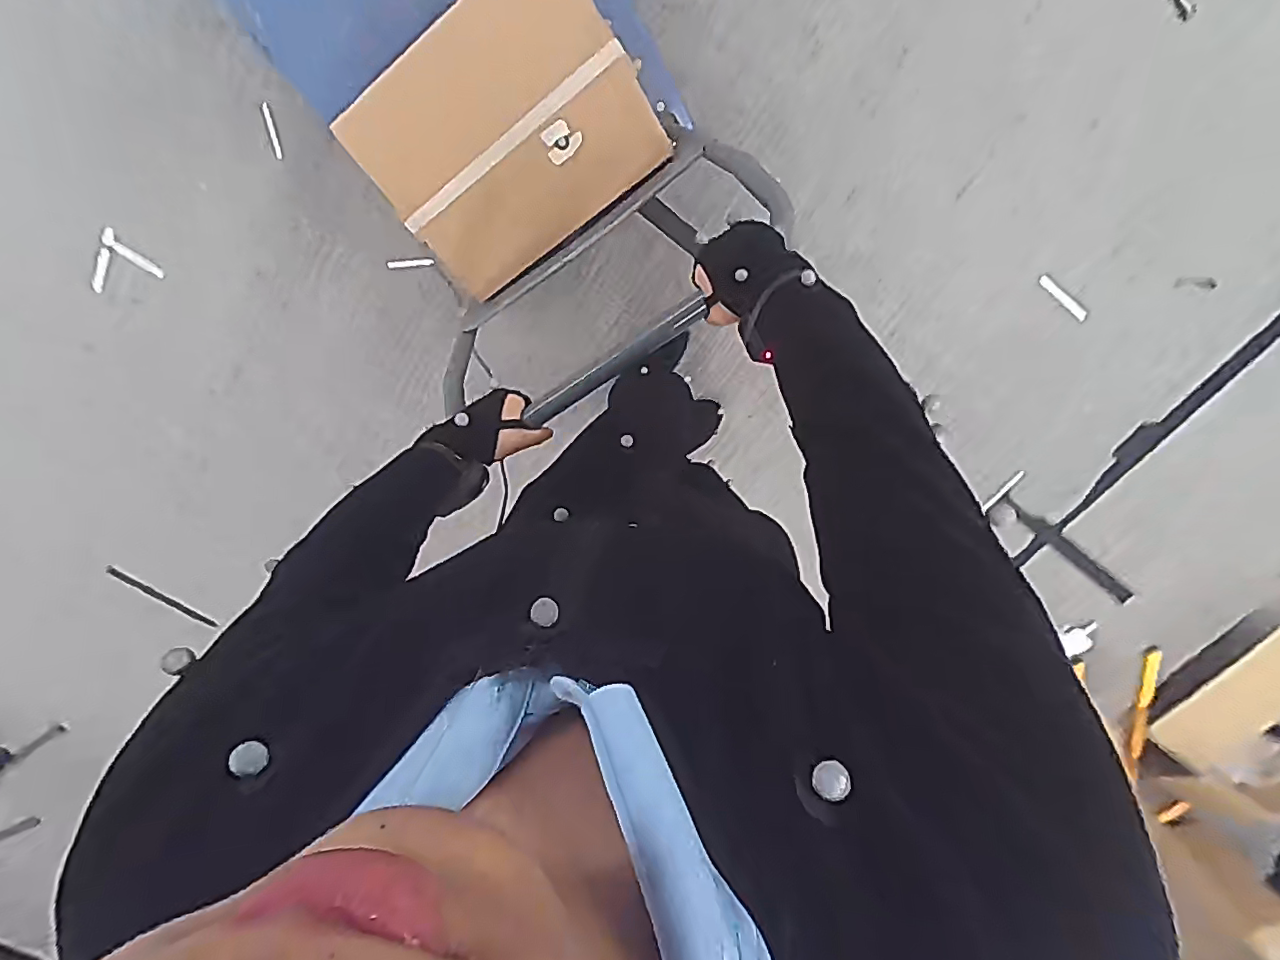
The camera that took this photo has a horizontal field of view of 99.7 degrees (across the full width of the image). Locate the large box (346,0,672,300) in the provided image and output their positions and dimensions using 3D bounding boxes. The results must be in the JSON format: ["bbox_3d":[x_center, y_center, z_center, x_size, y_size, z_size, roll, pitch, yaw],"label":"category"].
[{"bbox_3d":[-0.209,-0.596,0.946,0.408,0.320,0.320,-33,123,14],"label":"large box"}]
